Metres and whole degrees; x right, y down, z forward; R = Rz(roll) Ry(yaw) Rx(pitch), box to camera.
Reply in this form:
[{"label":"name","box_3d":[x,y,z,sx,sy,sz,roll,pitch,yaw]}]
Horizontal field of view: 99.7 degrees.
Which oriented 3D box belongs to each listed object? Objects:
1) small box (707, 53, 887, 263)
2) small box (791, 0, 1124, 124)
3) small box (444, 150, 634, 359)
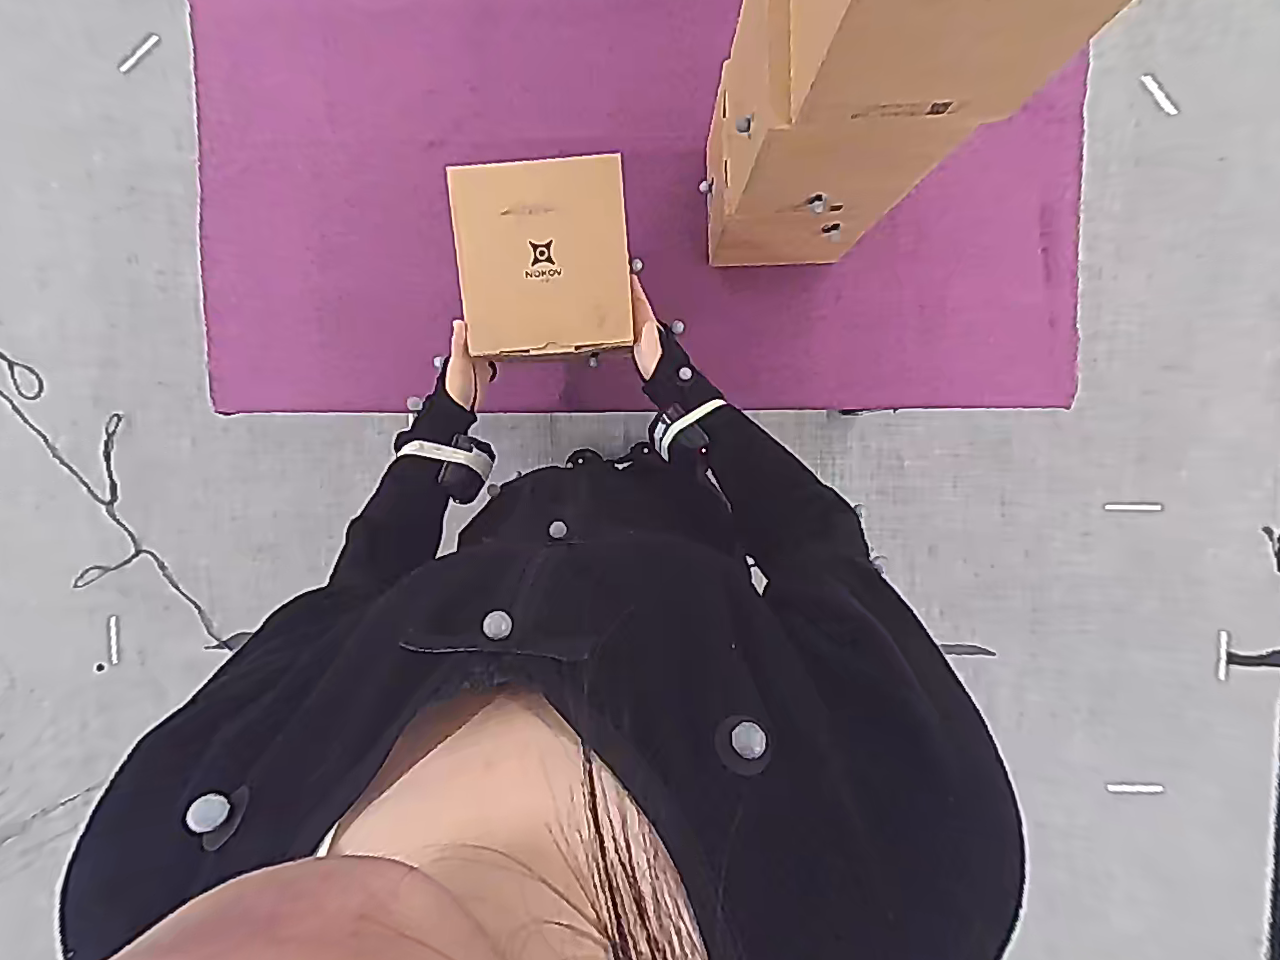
[{"label":"small box","box_3d":[0.179,-0.376,0.659,0.179,0.176,0.168,-1,92,1]},{"label":"small box","box_3d":[0.194,-0.358,0.332,0.168,0.176,0.179,-2,93,1]},{"label":"small box","box_3d":[-0.095,-0.228,0.594,0.168,0.176,0.179,-5,99,0]}]
